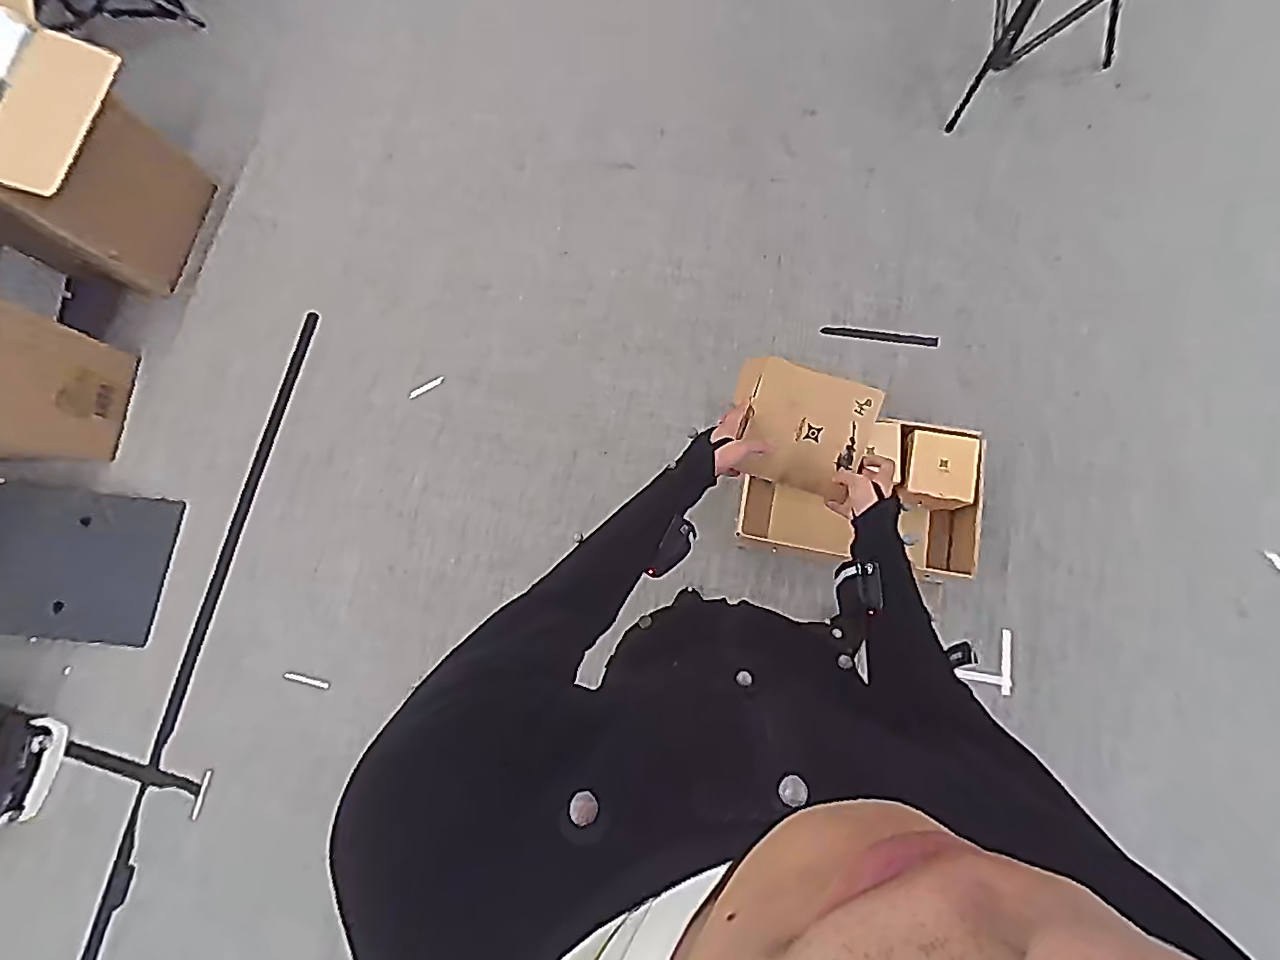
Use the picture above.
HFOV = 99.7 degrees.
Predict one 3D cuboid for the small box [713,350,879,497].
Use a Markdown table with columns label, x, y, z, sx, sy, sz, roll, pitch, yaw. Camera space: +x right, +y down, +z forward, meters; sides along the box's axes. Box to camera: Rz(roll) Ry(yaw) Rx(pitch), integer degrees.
| label | x | y | z | sx | sy | sz | roll | pitch | yaw |
| --- | --- | --- | --- | --- | --- | --- | --- | --- | --- |
| small box | 0.222 | -0.086 | 0.828 | 0.179 | 0.176 | 0.168 | 17 | 98 | -3 |

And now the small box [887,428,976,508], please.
| label | x | y | z | sx | sy | sz | roll | pitch | yaw |
| --- | --- | --- | --- | --- | --- | --- | --- | --- | --- |
| small box | 0.803 | -0.028 | 1.505 | 0.168 | 0.176 | 0.179 | 10 | 82 | 9 |
